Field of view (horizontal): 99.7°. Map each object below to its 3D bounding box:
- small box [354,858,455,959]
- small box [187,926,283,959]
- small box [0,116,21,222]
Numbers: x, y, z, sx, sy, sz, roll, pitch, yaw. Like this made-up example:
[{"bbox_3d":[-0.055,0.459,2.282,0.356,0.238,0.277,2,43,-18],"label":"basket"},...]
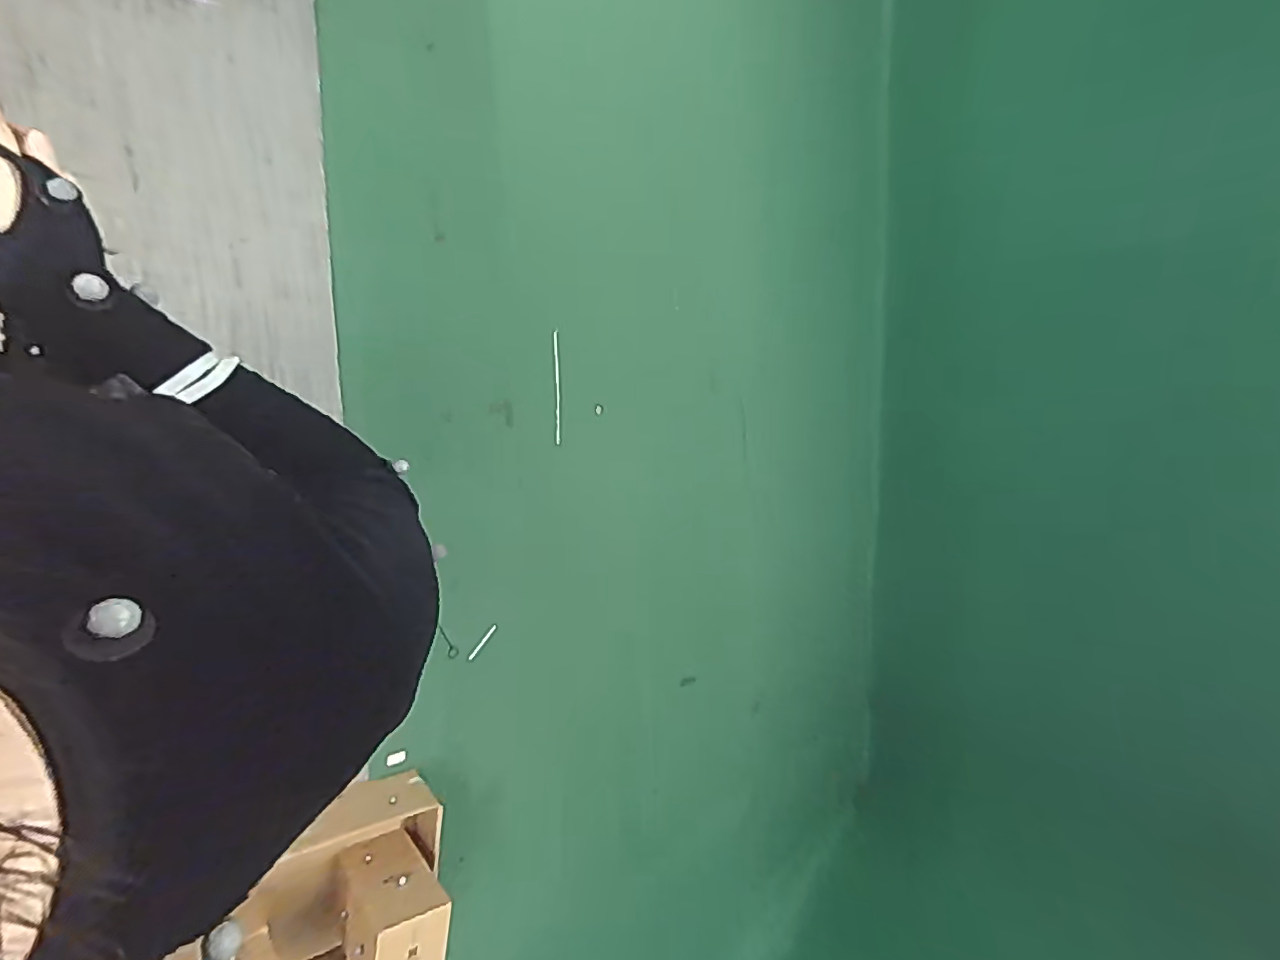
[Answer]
[{"bbox_3d":[-0.557,1.045,1.269,0.168,0.176,0.179,9,87,-42],"label":"small box"},{"bbox_3d":[-0.793,1.034,1.045,0.168,0.176,0.179,3,90,-44],"label":"small box"},{"bbox_3d":[-0.504,-0.261,0.307,0.168,0.176,0.179,-13,112,-40],"label":"small box"}]
